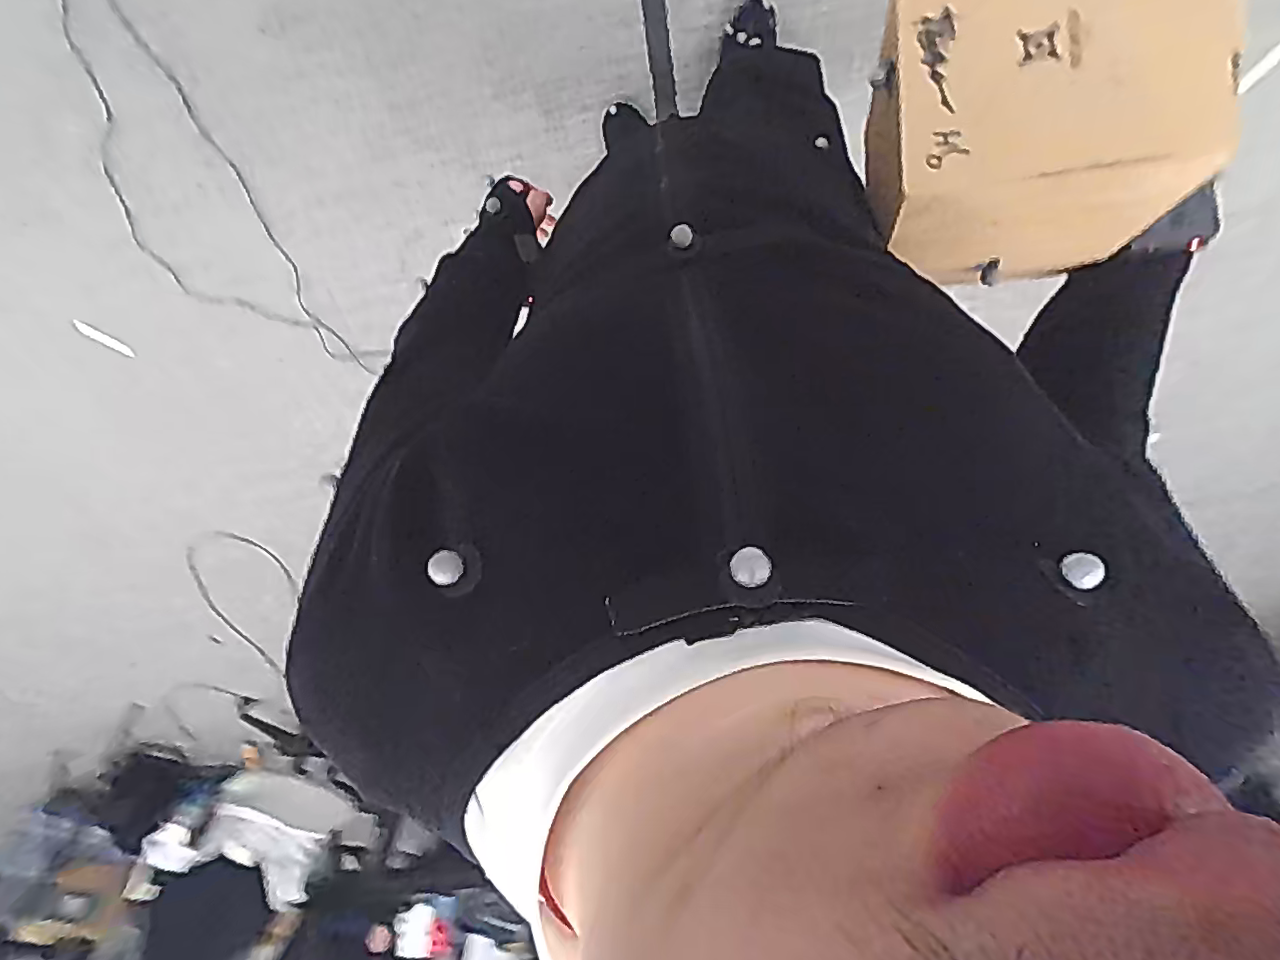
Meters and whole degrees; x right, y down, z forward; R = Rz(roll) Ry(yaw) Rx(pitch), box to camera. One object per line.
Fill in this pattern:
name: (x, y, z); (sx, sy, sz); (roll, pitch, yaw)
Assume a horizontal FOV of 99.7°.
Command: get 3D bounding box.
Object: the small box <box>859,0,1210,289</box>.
small box: (0.278, -0.267, 0.425); (0.179, 0.176, 0.168); (-1, 87, 16)
